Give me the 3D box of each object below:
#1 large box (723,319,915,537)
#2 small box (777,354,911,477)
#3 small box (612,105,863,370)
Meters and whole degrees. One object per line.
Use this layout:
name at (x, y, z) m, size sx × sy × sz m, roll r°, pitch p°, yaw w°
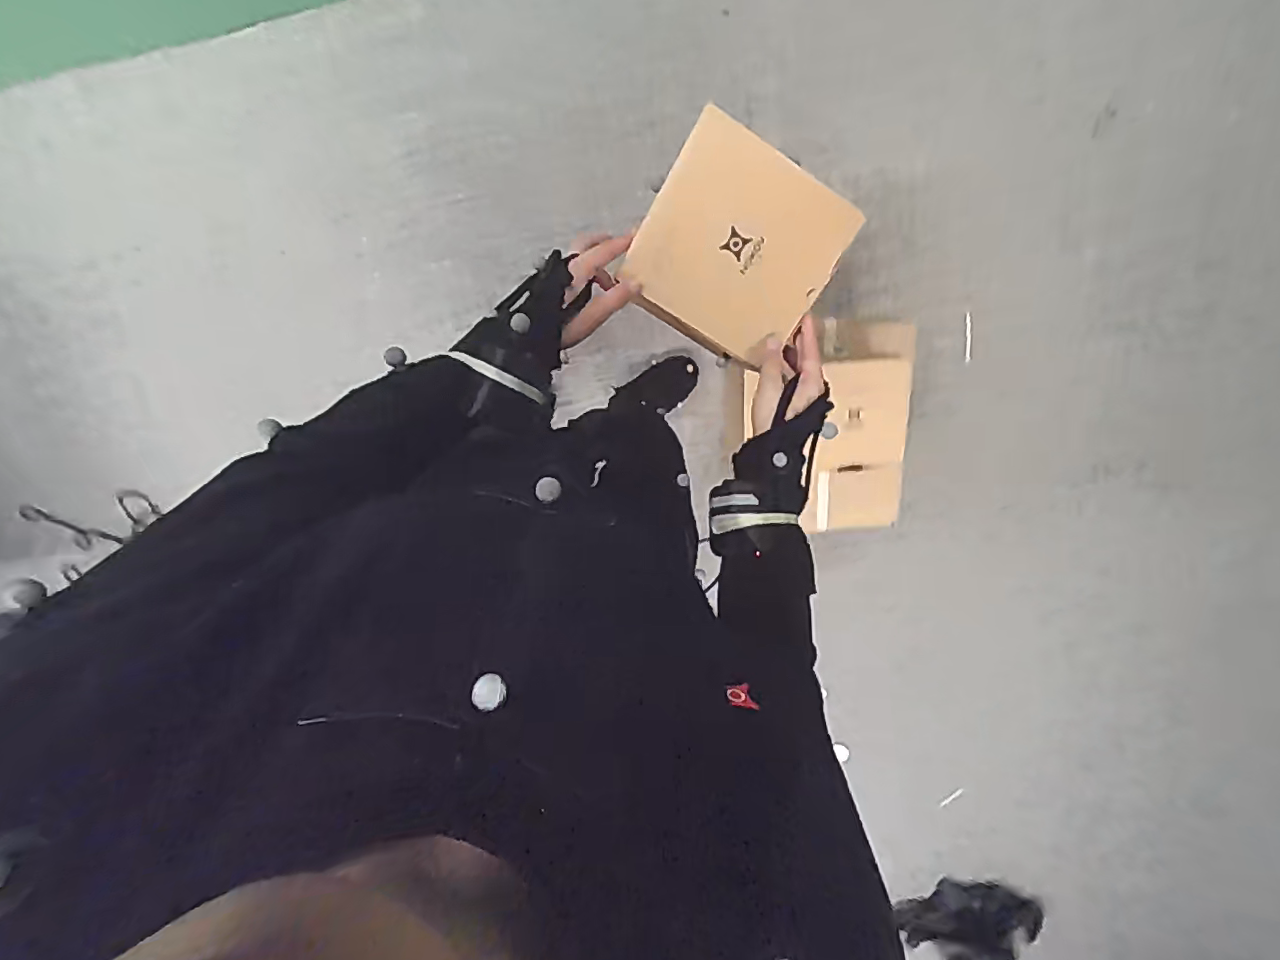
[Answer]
large box at (0.358, -0.127, 1.176) m, size 0.320 × 0.320 × 0.408 m, roll -3°, pitch 109°, yaw 3°
small box at (0.337, -0.116, 0.925) m, size 0.168 × 0.176 × 0.179 m, roll -4°, pitch 107°, yaw 1°
small box at (0.083, -0.231, 0.563) m, size 0.179 × 0.176 × 0.168 m, roll 28°, pitch 102°, yaw -11°
